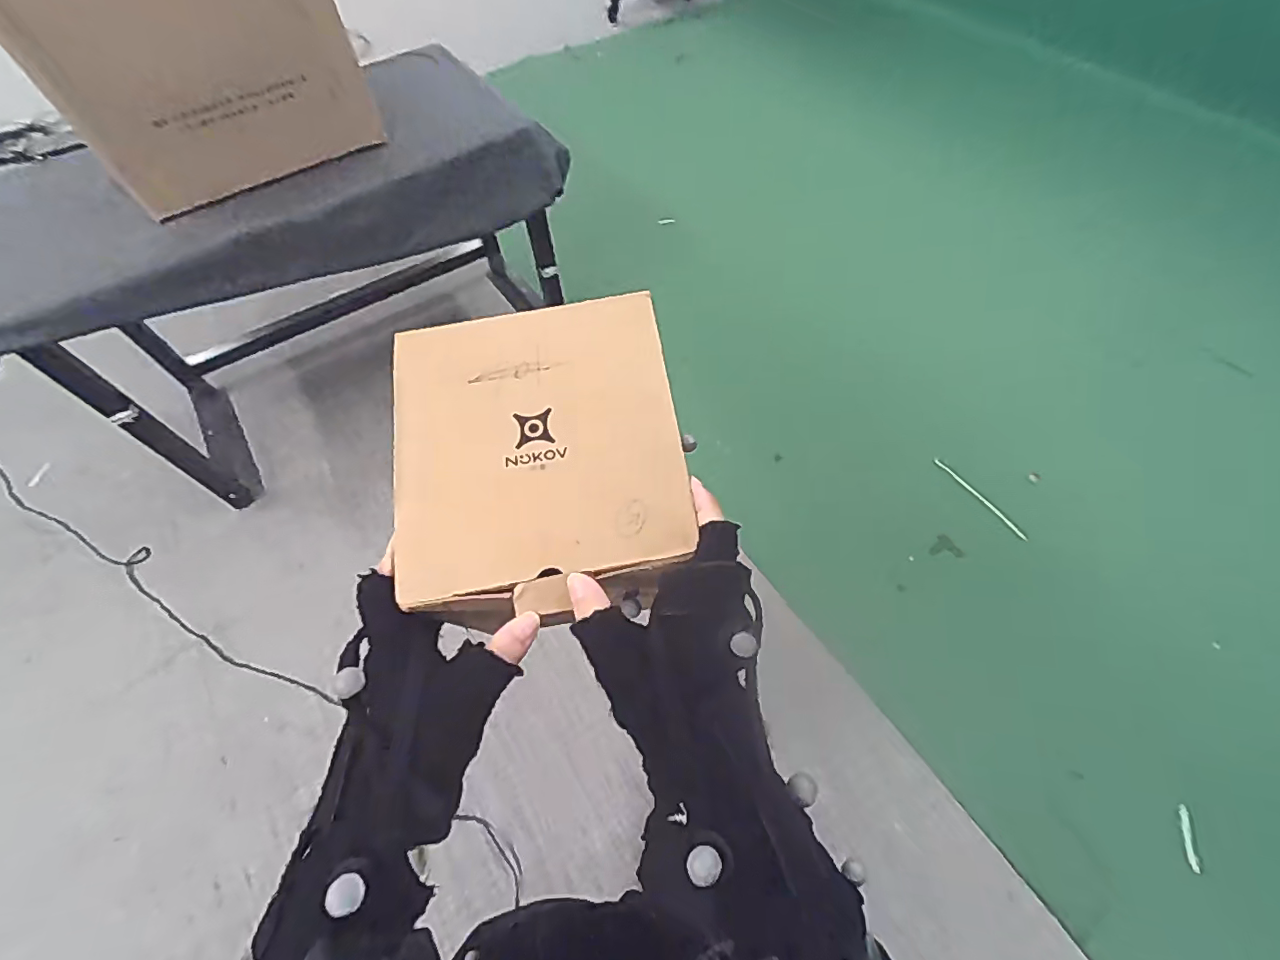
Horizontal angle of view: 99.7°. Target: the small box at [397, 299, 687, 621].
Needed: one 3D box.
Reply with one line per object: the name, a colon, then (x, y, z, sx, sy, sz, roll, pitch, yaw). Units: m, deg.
small box: (-0.060, 0.002, 0.400, 0.168, 0.176, 0.179, -10, 68, -1)
